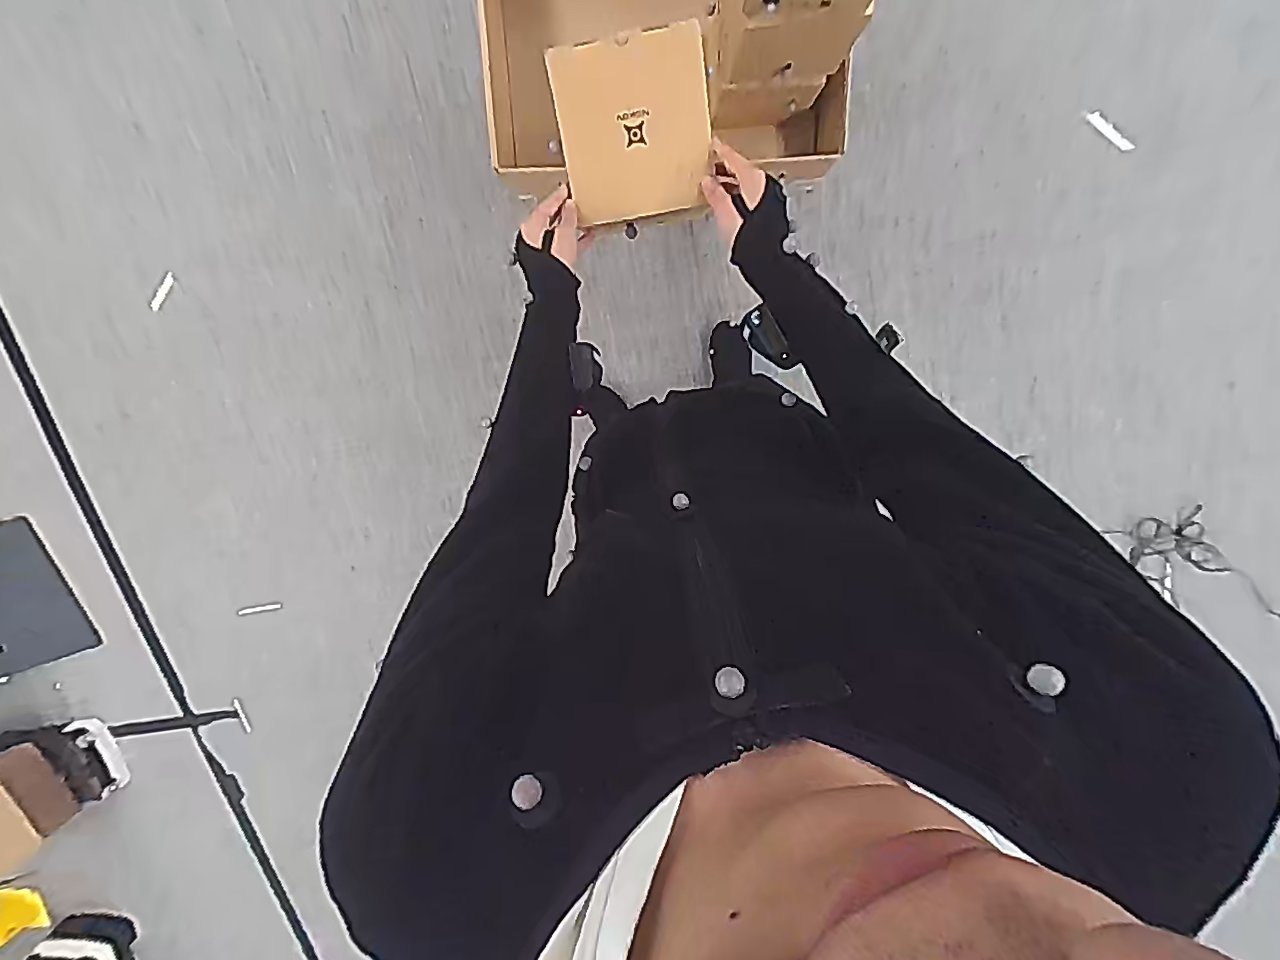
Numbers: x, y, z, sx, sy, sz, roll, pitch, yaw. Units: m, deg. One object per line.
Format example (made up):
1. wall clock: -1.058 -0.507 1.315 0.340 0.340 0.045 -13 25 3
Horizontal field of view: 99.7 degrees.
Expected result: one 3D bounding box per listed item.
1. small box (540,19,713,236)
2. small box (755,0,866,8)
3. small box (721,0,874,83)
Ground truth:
1. small box: -0.009 -0.404 0.657 0.168 0.176 0.179 -9 109 4
2. small box: 0.210 -0.674 0.606 0.168 0.176 0.179 0 104 1
3. small box: 0.215 -0.700 0.770 0.179 0.176 0.168 -4 104 1
